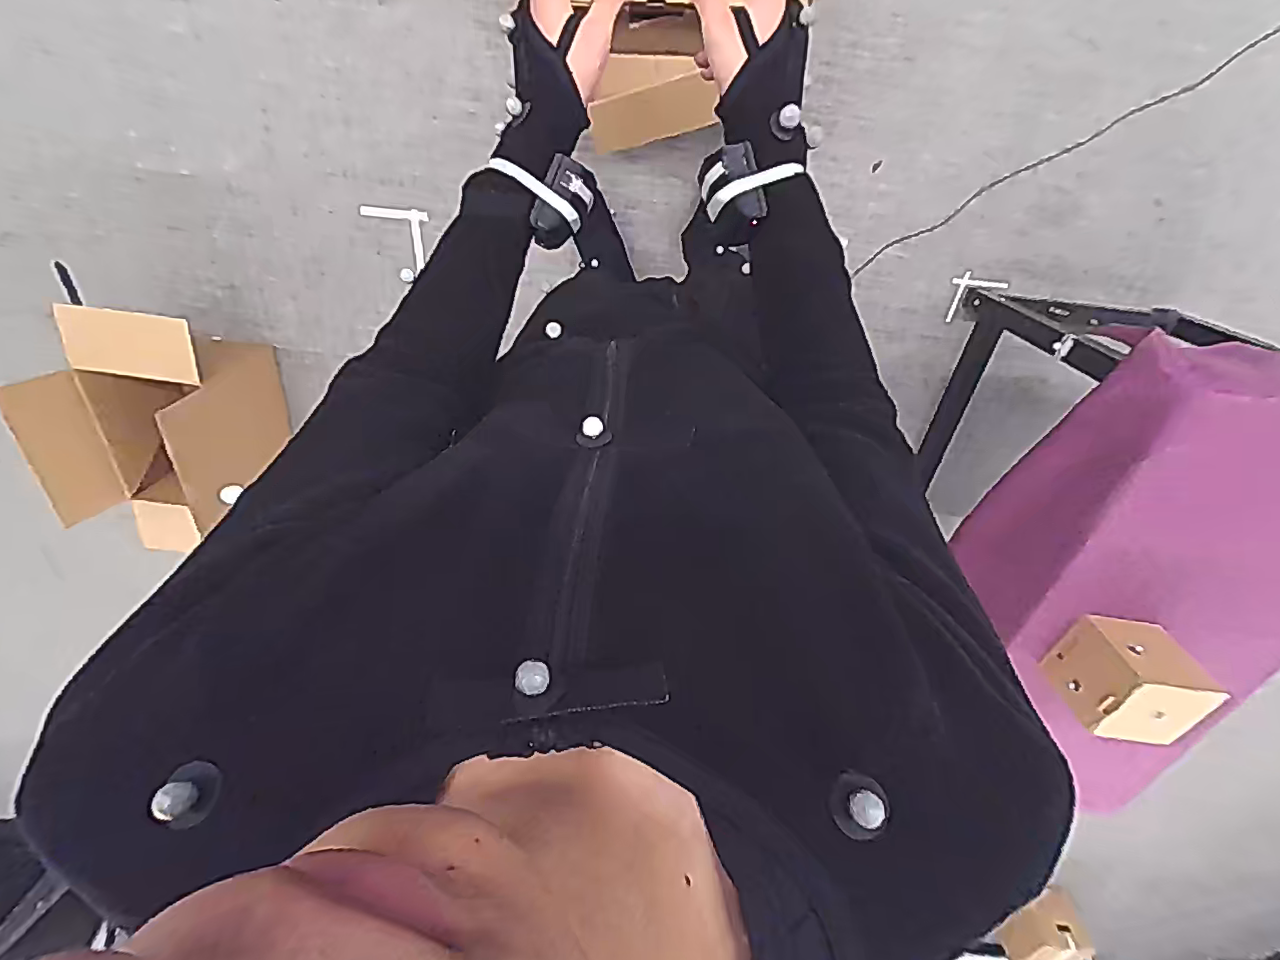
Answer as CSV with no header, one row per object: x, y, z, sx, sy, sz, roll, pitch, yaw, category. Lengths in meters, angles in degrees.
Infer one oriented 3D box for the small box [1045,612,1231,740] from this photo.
0.972,0.385,1.080,0.179,0.176,0.168,9,123,-5,small box

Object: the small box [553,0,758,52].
0.014,-0.481,0.449,0.168,0.176,0.179,0,117,-2,small box
